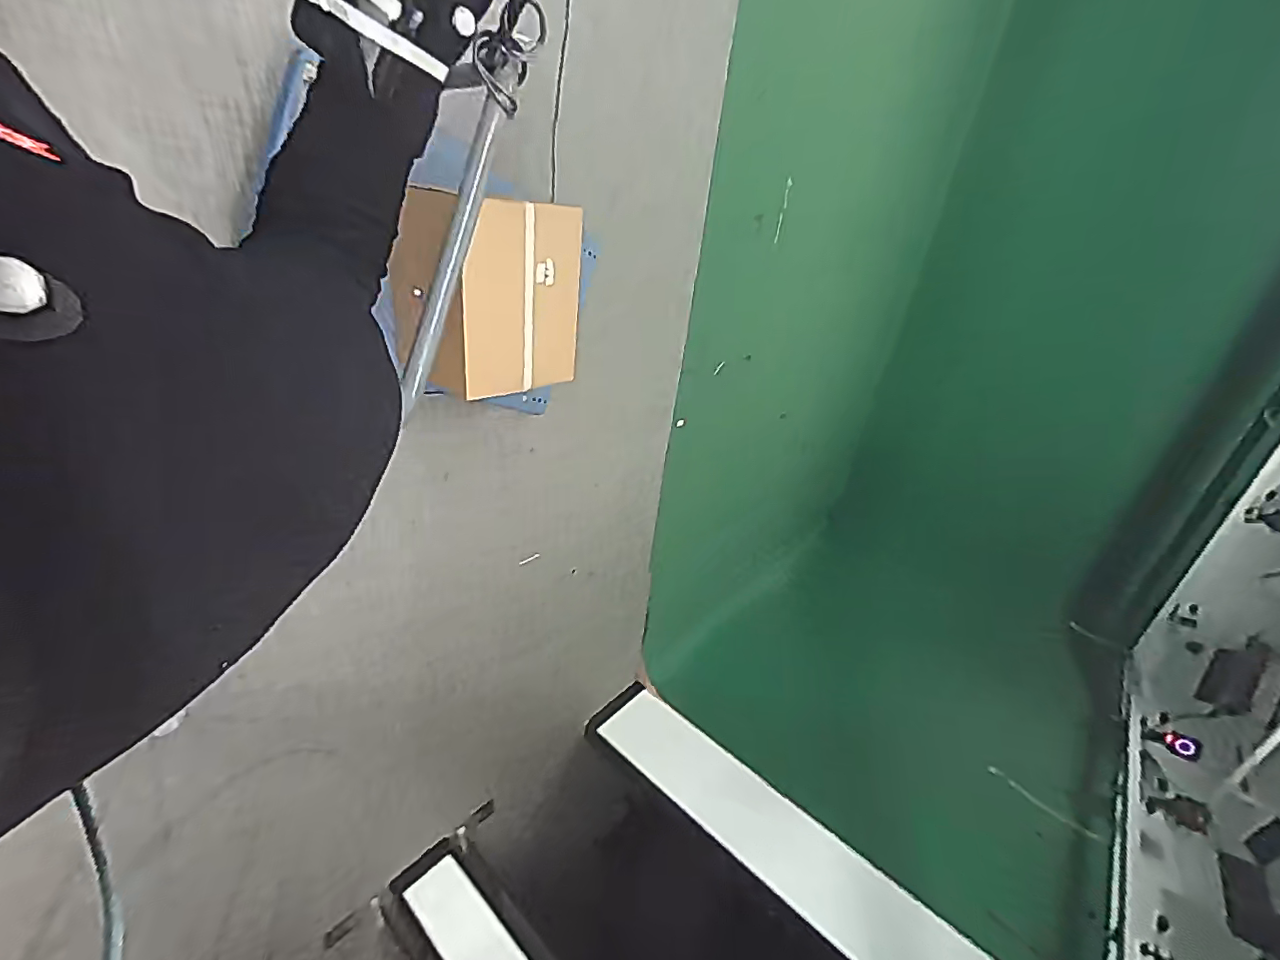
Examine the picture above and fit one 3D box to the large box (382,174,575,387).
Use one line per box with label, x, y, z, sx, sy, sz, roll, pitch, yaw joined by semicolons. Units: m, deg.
large box;-0.378;-0.474;1.284;0.320;0.320;0.408;-22;129;-44
